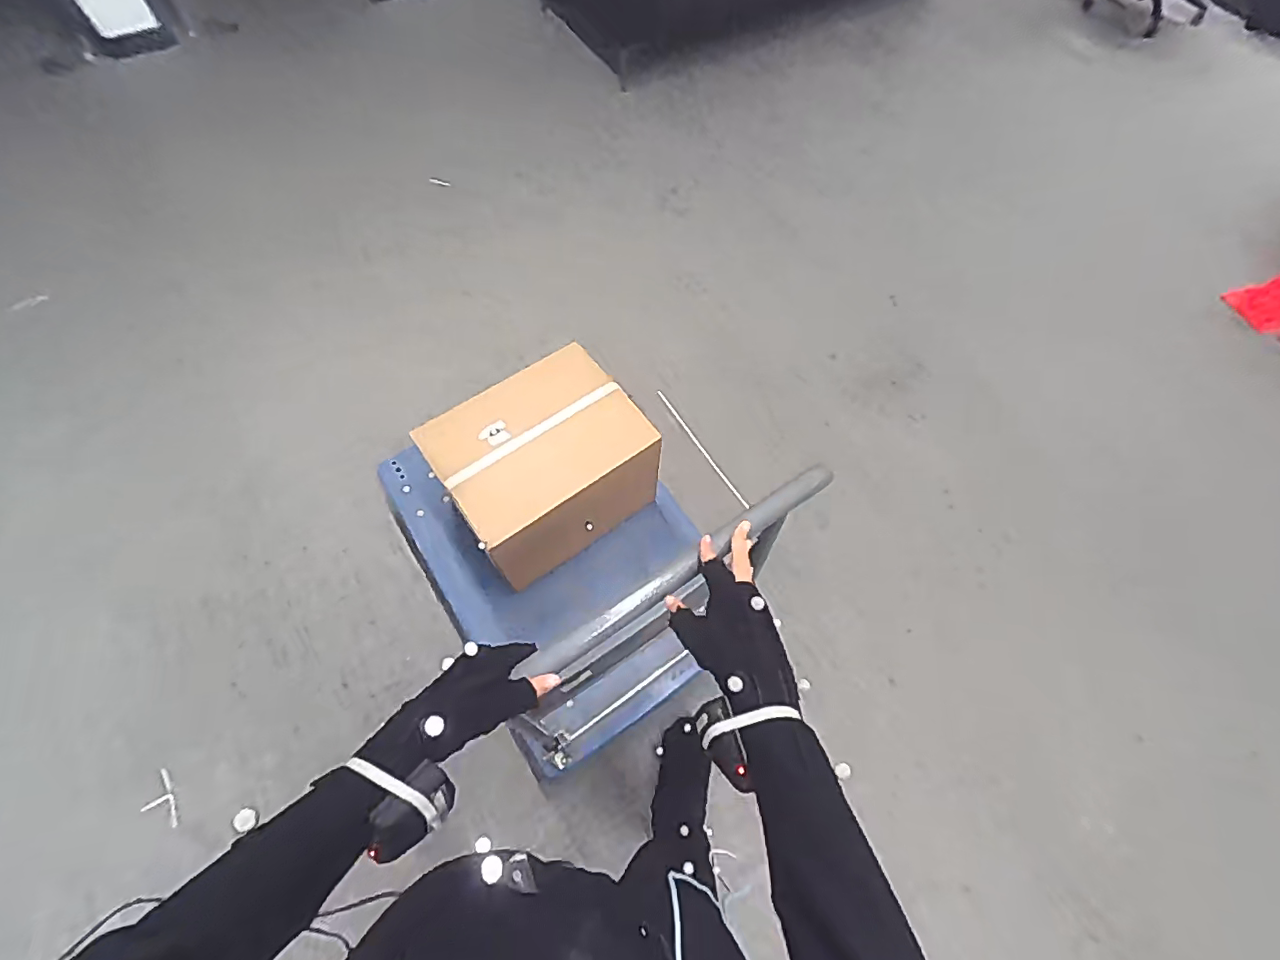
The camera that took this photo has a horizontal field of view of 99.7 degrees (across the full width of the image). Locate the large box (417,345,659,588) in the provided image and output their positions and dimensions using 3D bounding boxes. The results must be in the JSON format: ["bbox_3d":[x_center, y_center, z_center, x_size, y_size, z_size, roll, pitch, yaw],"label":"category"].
[{"bbox_3d":[-0.206,-0.022,1.225,0.408,0.320,0.320,-34,68,-16],"label":"large box"}]
